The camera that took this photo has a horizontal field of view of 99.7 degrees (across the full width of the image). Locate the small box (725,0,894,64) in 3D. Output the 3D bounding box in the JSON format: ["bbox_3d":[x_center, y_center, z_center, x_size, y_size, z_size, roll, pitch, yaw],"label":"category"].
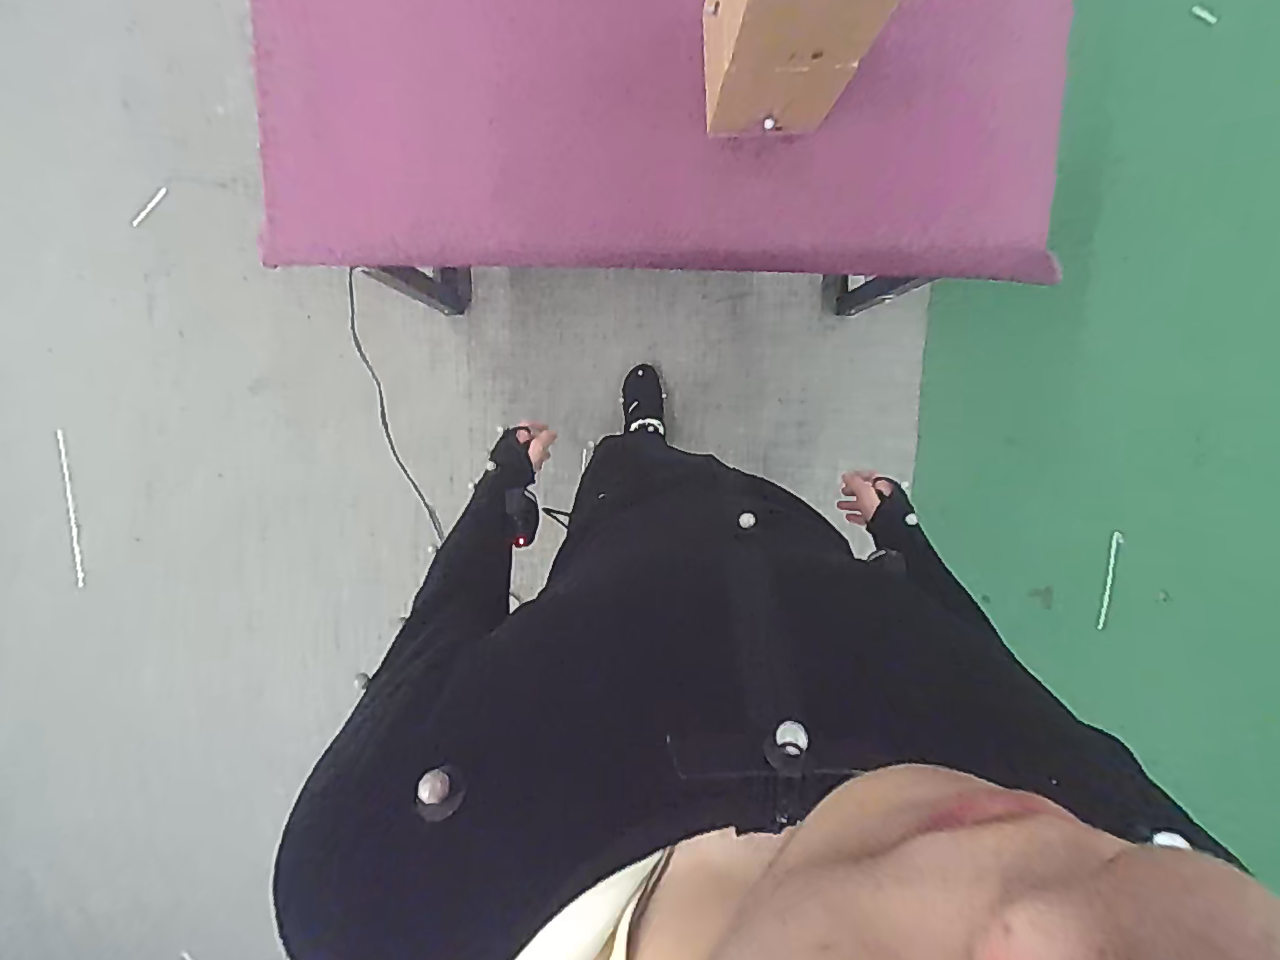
[{"bbox_3d":[0.181,-0.580,0.561,0.168,0.176,0.179,-4,97,0],"label":"small box"}]

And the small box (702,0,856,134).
[{"bbox_3d":[0.176,-0.600,0.724,0.168,0.176,0.179,-3,97,0],"label":"small box"}]

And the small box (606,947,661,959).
[{"bbox_3d":[-0.024,1.461,1.500,0.168,0.176,0.179,6,98,-1],"label":"small box"}]
